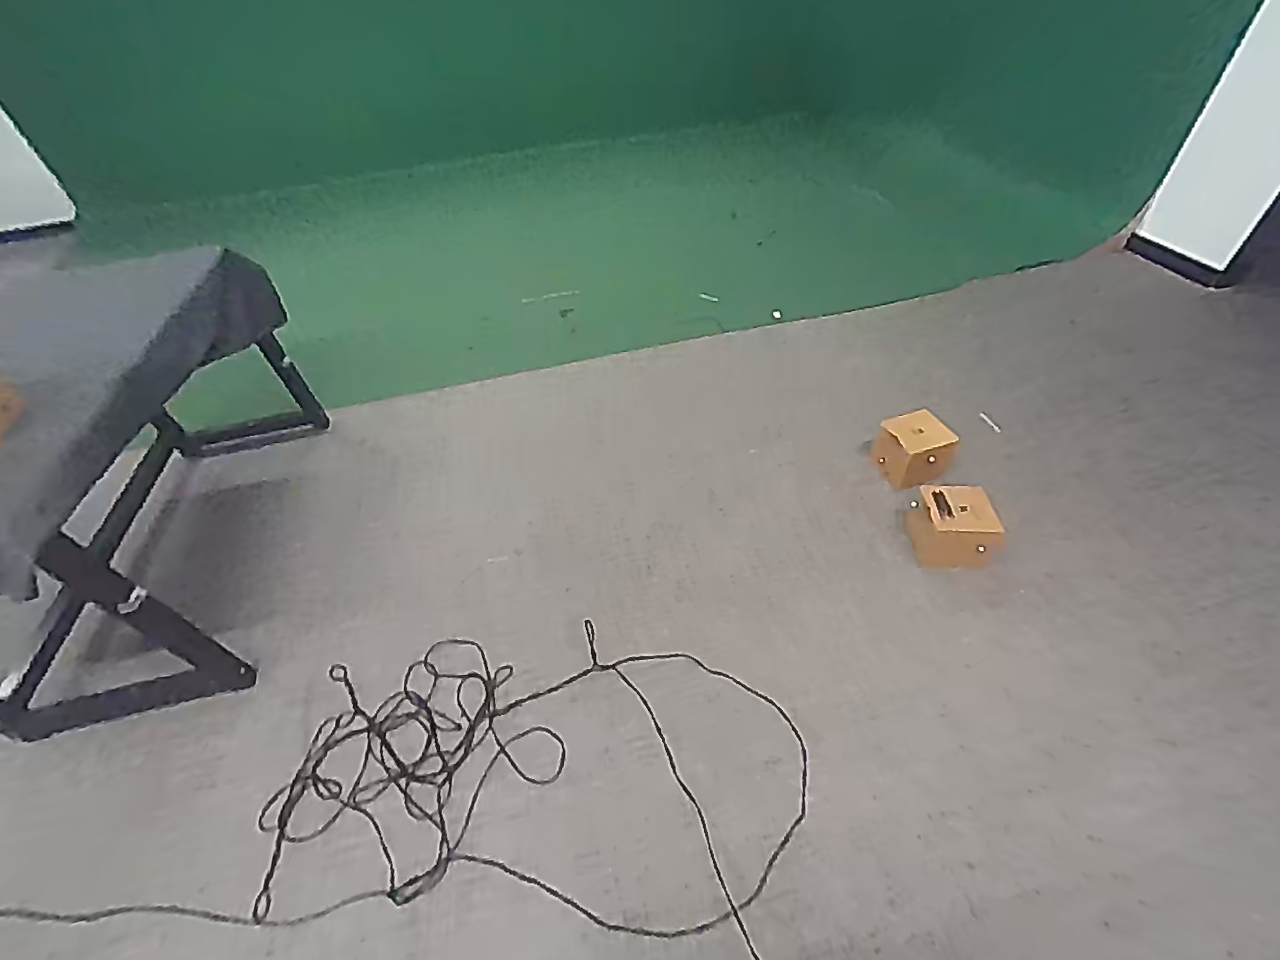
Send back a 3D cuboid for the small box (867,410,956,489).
[{"bbox_3d":[0.874,-0.097,1.760,0.179,0.176,0.168,-16,47,-9],"label":"small box"}]
